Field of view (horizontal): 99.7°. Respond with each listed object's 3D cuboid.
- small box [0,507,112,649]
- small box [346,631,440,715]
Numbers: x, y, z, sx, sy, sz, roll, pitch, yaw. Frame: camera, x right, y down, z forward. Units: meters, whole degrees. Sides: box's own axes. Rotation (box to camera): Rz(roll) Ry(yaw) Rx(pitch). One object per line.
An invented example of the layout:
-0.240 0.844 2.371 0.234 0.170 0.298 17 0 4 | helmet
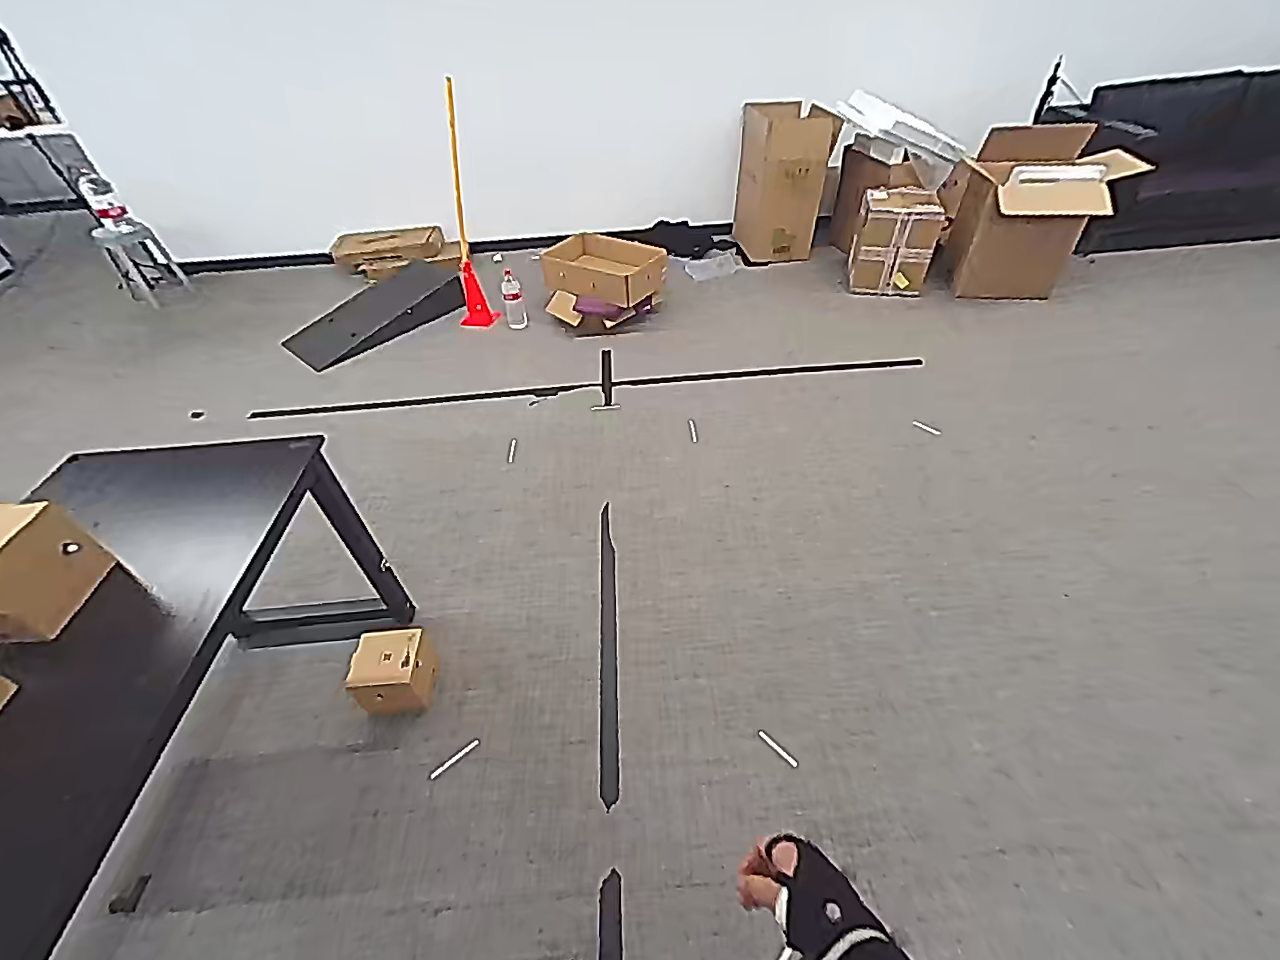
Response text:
-1.084 0.169 0.930 0.168 0.176 0.179 -5 44 0 | small box
-0.699 0.557 1.549 0.179 0.176 0.168 -6 44 -1 | small box
